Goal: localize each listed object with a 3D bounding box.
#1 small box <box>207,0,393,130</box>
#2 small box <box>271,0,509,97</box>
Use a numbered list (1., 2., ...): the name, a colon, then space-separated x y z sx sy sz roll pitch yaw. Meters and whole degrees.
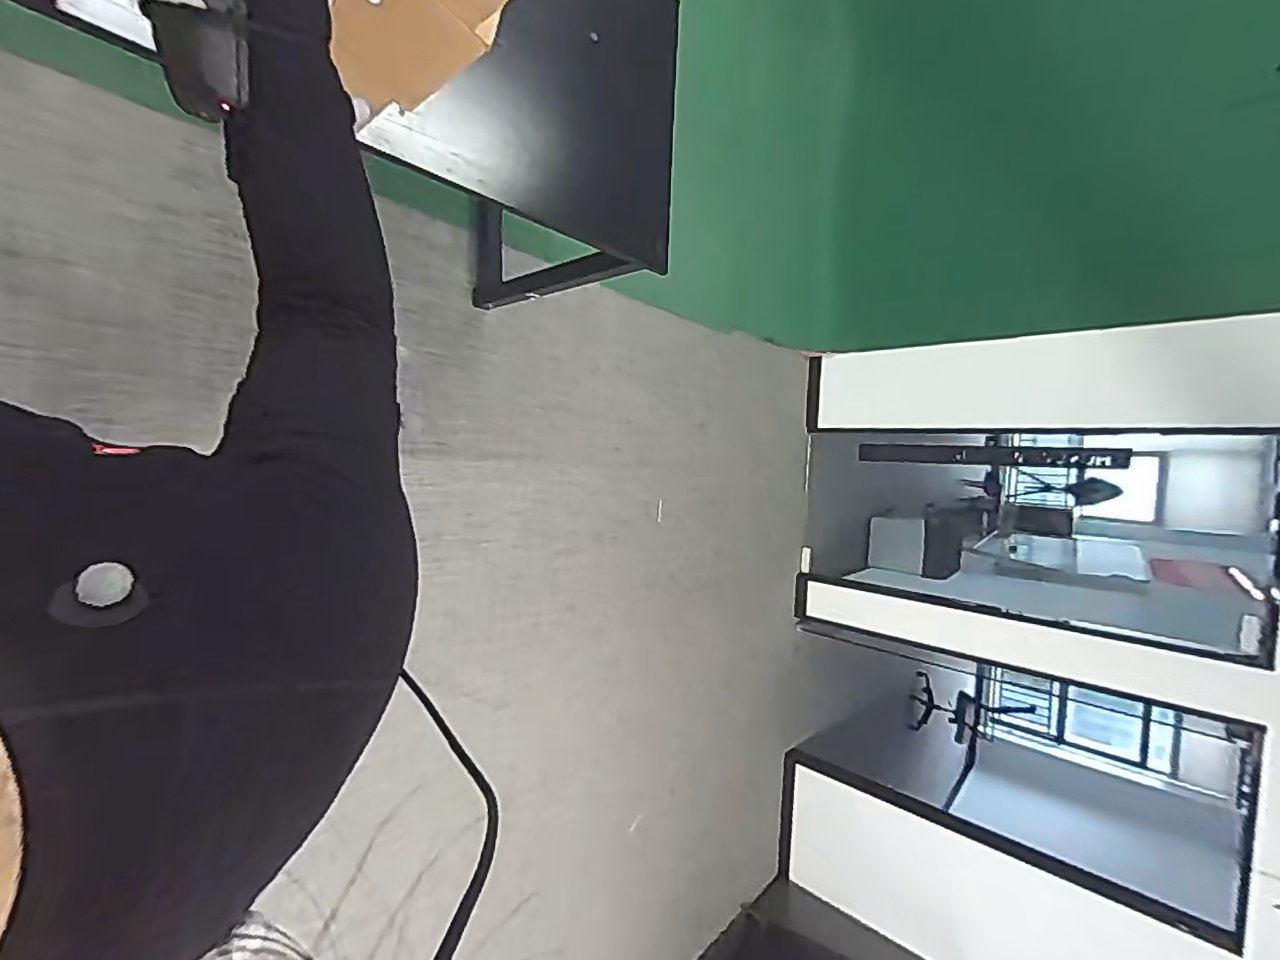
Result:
1. small box: -0.365 -0.543 0.611 0.168 0.176 0.179 7 89 -49
2. small box: -0.236 -0.511 0.514 0.179 0.176 0.168 19 80 -48
